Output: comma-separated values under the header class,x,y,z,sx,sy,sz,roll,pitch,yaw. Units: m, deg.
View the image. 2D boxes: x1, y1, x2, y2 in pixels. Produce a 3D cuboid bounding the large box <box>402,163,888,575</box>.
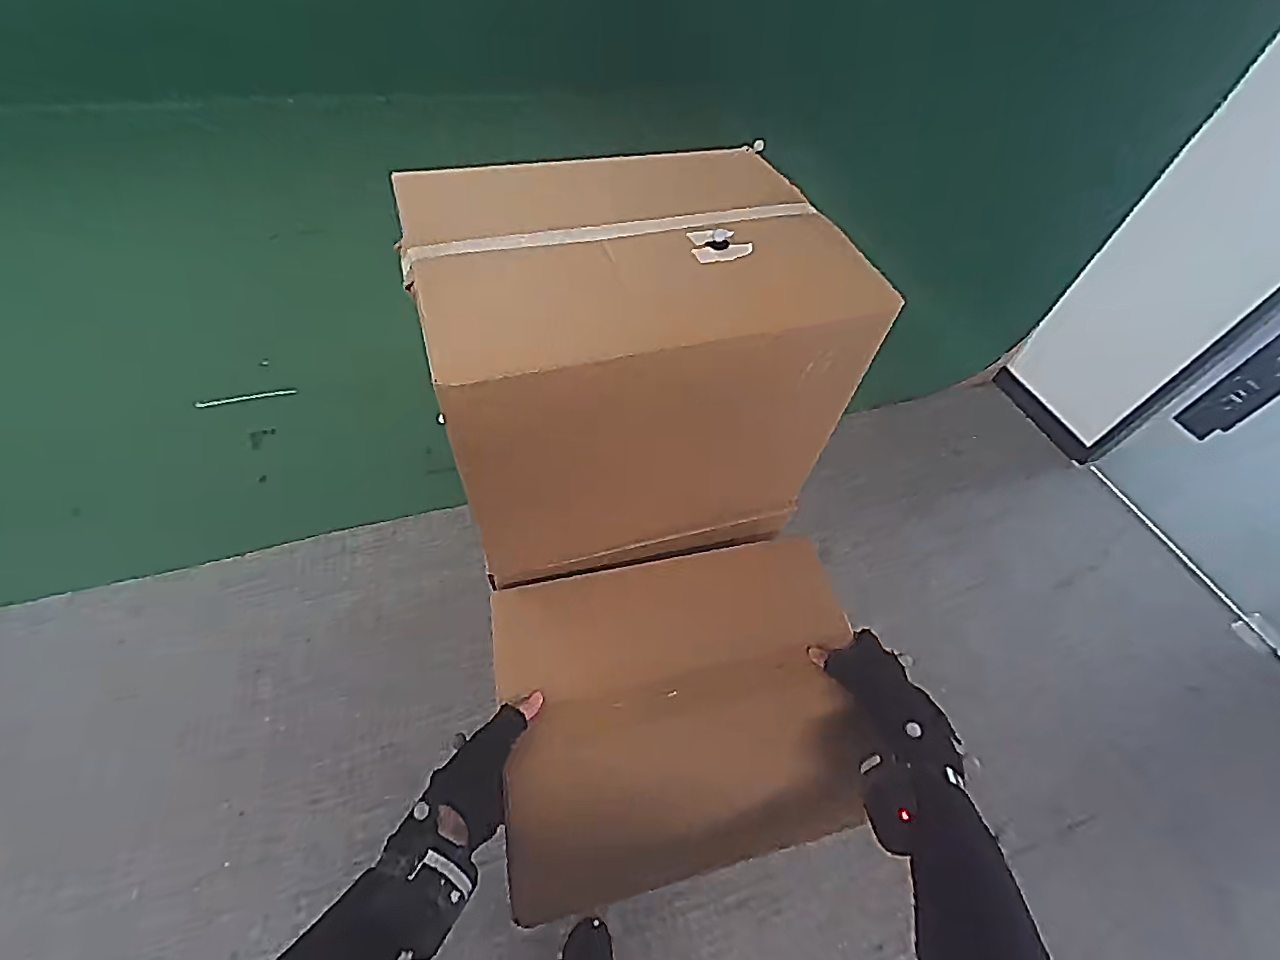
class,x,y,z,sx,sy,sz,roll,pitch,yaw
large box,-0.020,-0.135,0.636,0.408,0.320,0.320,-13,56,-16
